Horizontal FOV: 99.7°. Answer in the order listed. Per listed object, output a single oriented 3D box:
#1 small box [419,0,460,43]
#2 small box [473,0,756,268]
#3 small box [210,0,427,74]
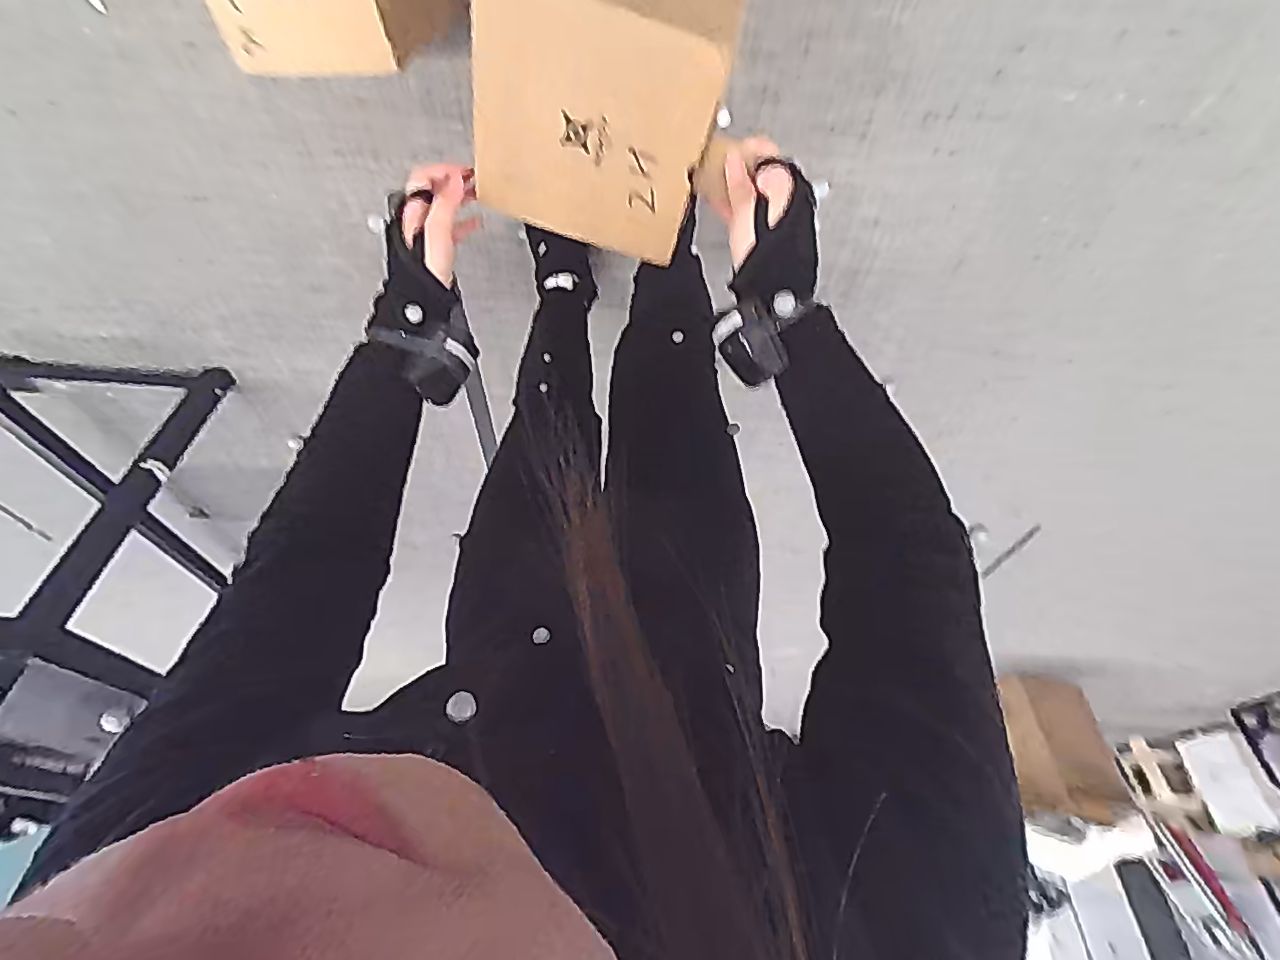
[{"bbox_3d":[-0.331,-0.682,0.667,0.168,0.176,0.179,4,143,-4],"label":"small box"},{"bbox_3d":[-0.021,-0.313,0.436,0.179,0.176,0.168,16,146,-7],"label":"small box"},{"bbox_3d":[-0.340,-0.553,0.566,0.179,0.176,0.168,1,143,0],"label":"small box"}]
